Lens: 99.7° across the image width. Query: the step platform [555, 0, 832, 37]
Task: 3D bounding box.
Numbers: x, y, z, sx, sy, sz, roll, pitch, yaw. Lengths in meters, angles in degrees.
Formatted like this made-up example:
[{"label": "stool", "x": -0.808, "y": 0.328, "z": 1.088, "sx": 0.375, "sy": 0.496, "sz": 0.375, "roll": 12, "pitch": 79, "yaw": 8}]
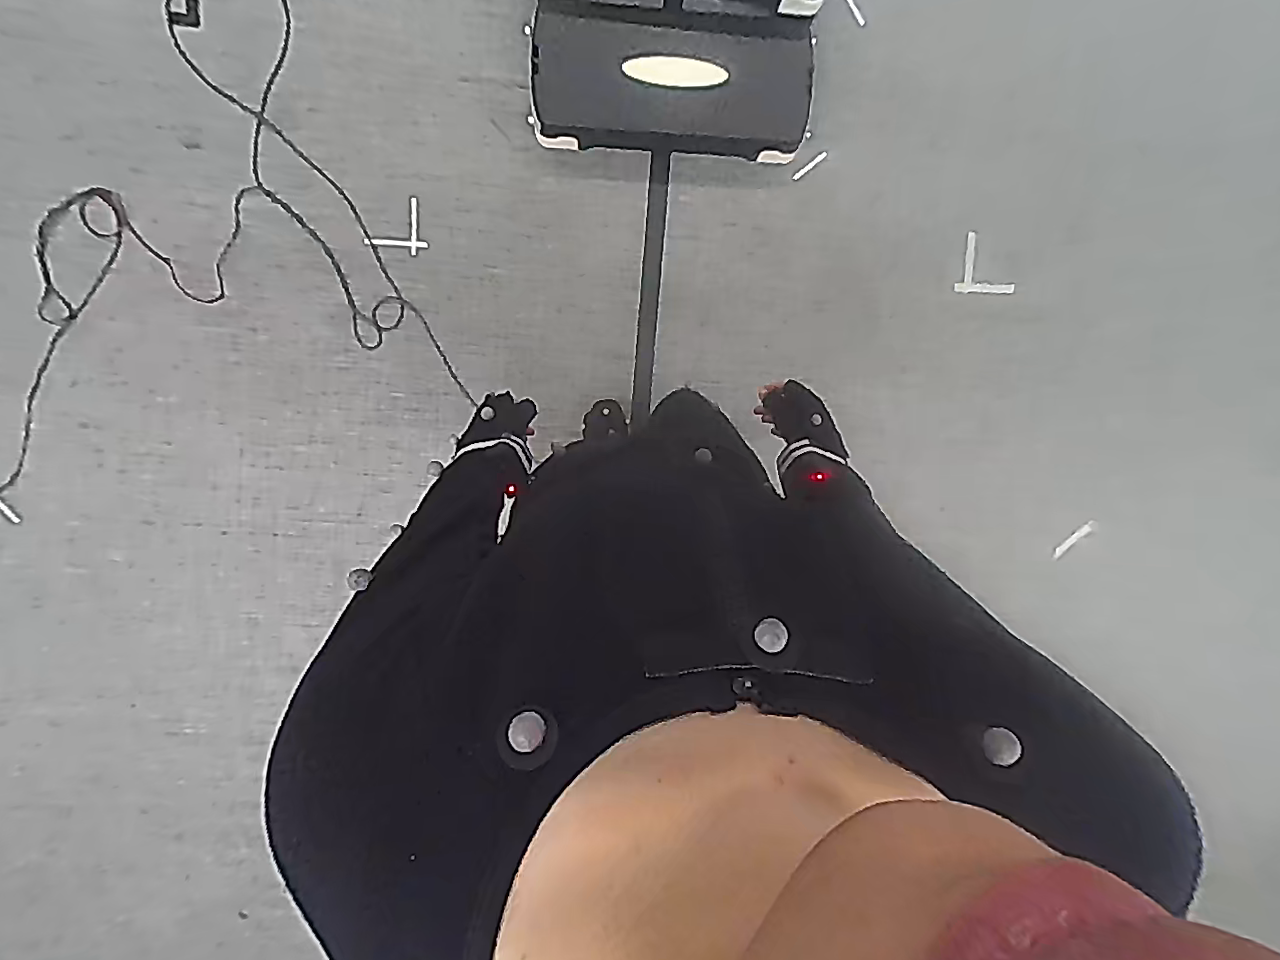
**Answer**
[{"label": "step platform", "x": 0.128, "y": -1.244, "z": 1.221, "sx": 0.684, "sy": 0.204, "sz": 0.286, "roll": 1, "pitch": 98, "yaw": -6}]
